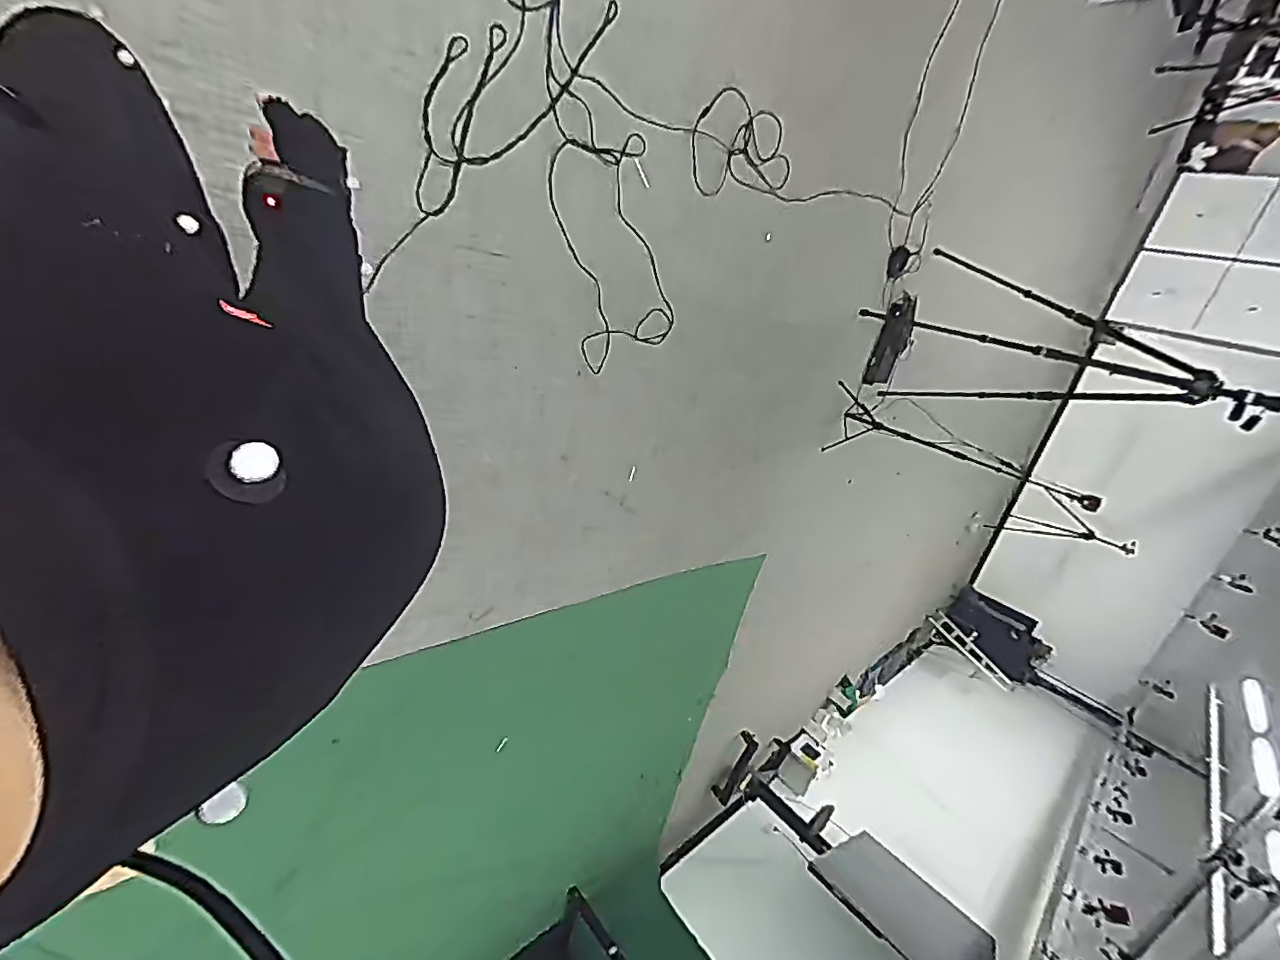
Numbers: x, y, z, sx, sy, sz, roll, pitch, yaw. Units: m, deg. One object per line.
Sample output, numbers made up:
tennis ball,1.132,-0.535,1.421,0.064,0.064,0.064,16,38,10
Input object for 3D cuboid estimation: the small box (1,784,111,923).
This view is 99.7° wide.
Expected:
small box,-1.378,0.874,1.283,0.168,0.176,0.179,-6,118,-46
